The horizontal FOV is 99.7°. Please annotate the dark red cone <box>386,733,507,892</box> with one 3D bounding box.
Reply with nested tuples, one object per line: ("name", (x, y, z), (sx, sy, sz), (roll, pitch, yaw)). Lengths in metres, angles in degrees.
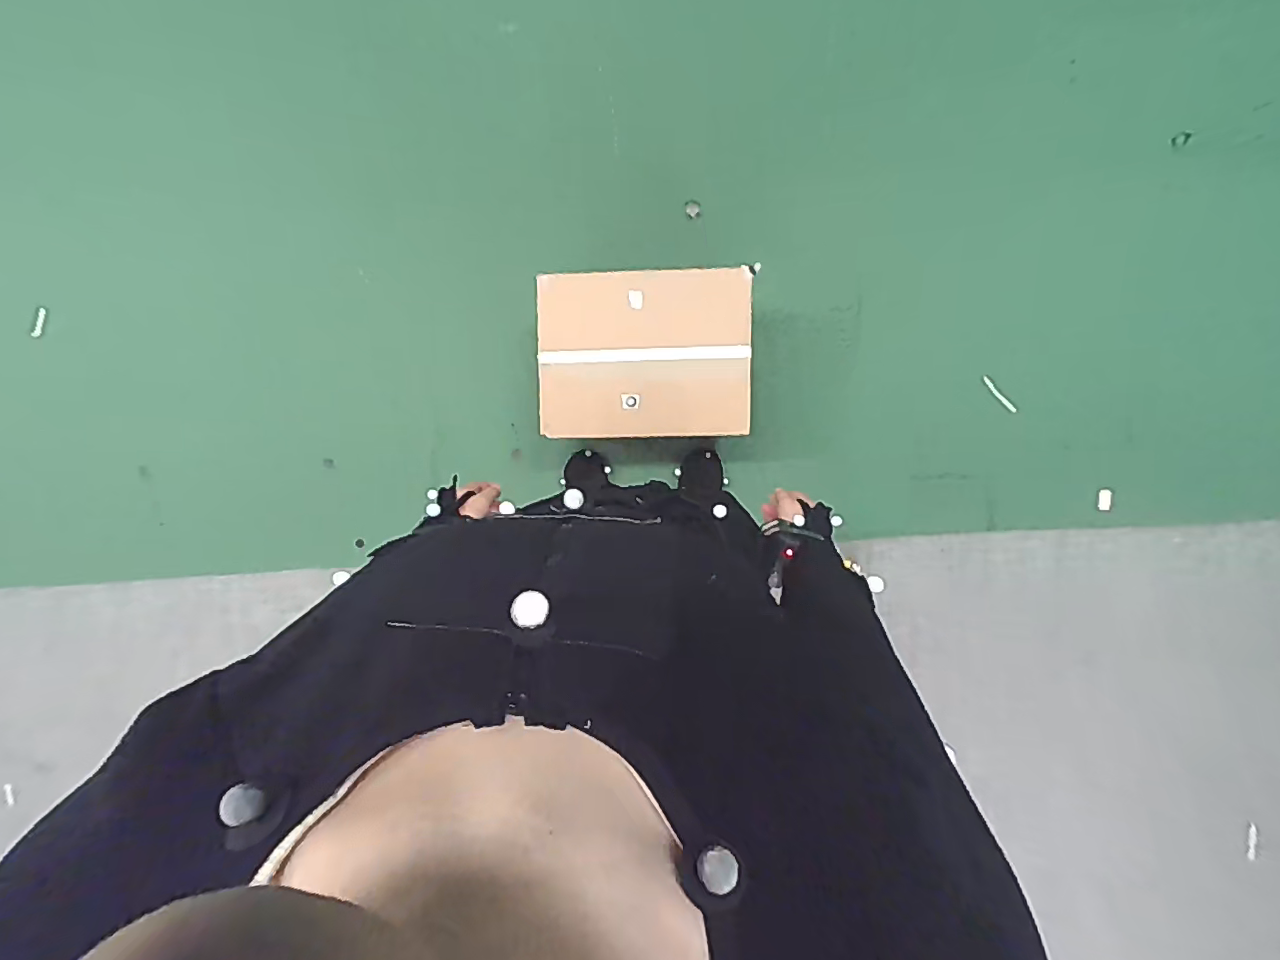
("dark red cone", (-0.467, 0.782, 1.259), (0.202, 0.394, 0.201), (-11, 94, 4))
